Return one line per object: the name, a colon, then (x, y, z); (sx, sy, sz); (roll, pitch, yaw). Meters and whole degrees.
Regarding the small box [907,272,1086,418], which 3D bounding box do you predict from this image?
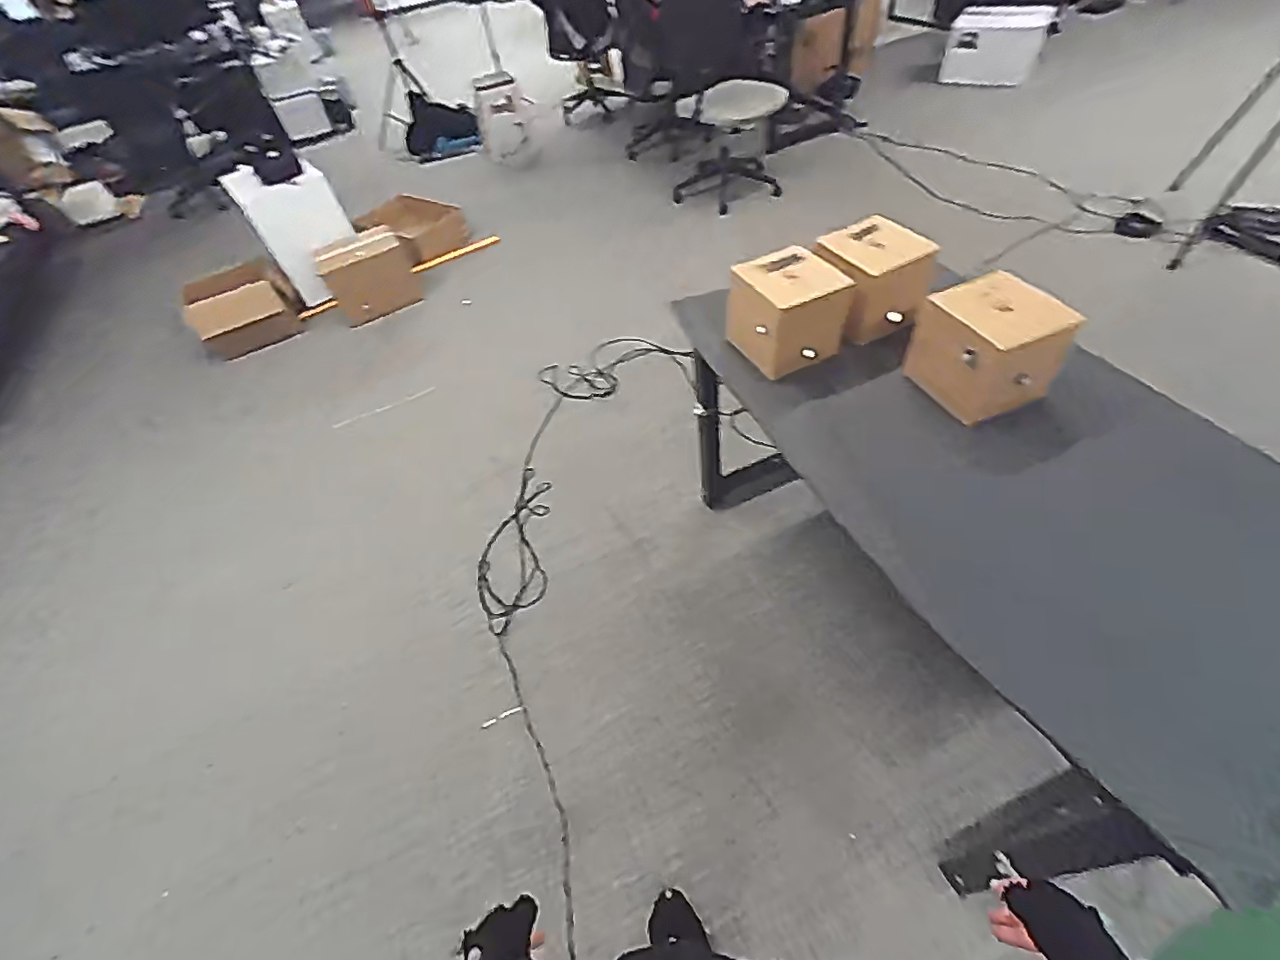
small box: (0.613, -0.231, 0.957); (0.168, 0.176, 0.179); (-20, 50, -8)
